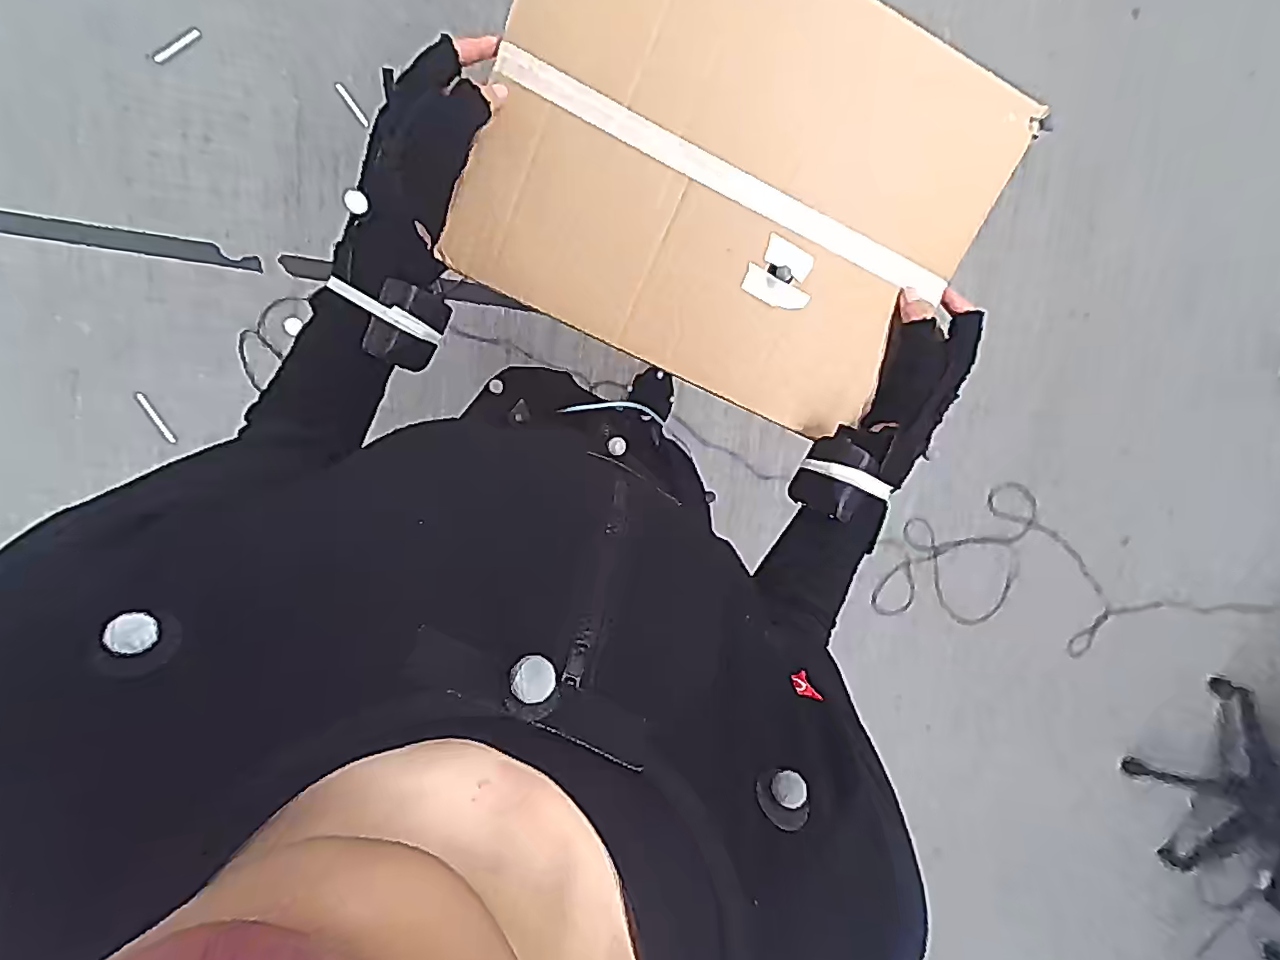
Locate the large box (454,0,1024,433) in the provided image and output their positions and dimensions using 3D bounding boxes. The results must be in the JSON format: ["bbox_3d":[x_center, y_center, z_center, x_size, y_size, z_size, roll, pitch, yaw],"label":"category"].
[{"bbox_3d":[0.071,-0.293,0.595,0.408,0.320,0.320,23,105,-10],"label":"large box"}]
